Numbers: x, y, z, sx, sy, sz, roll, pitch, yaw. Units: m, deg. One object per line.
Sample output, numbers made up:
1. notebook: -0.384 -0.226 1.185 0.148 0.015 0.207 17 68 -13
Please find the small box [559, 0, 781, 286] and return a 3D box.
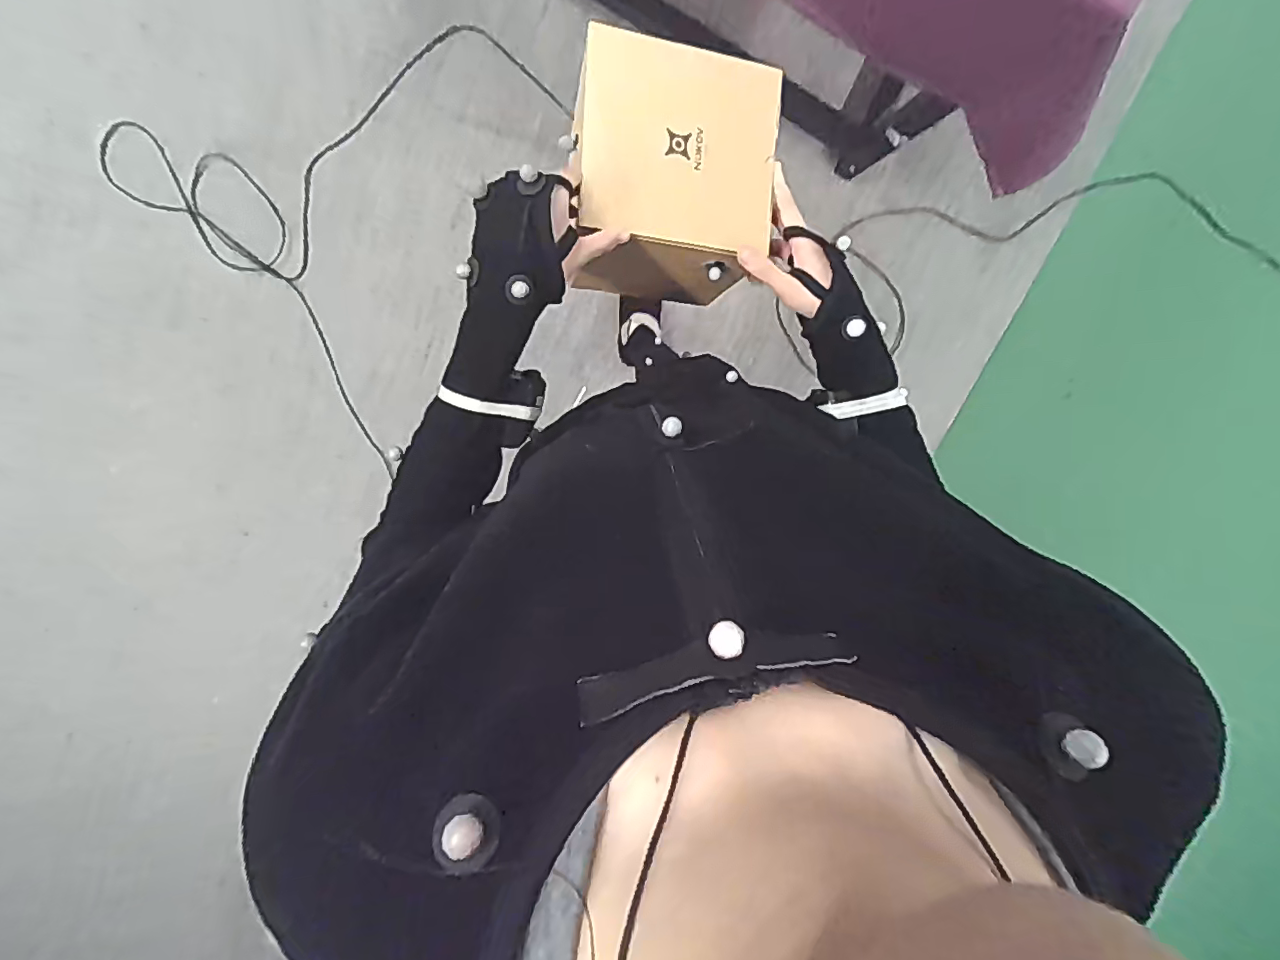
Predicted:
1. small box: 0.016 -0.305 0.533 0.179 0.176 0.168 3 92 -14
